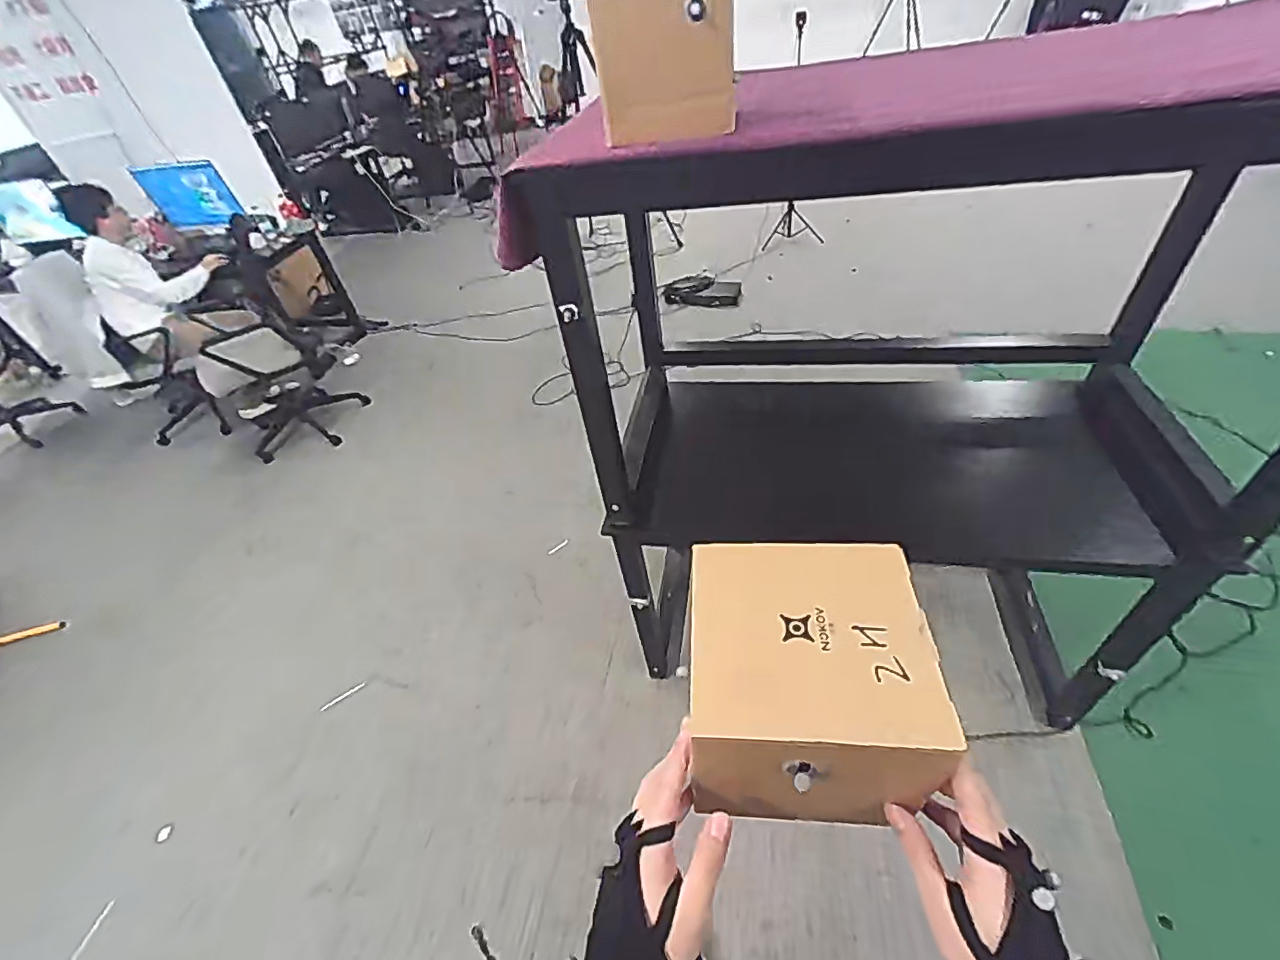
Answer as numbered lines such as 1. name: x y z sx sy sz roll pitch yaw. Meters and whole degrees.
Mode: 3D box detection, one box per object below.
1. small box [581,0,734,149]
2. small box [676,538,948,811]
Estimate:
1. small box: 0.036 -0.570 0.739 0.179 0.176 0.168 0 43 11
2. small box: 0.127 0.166 0.463 0.179 0.176 0.168 -1 45 8
